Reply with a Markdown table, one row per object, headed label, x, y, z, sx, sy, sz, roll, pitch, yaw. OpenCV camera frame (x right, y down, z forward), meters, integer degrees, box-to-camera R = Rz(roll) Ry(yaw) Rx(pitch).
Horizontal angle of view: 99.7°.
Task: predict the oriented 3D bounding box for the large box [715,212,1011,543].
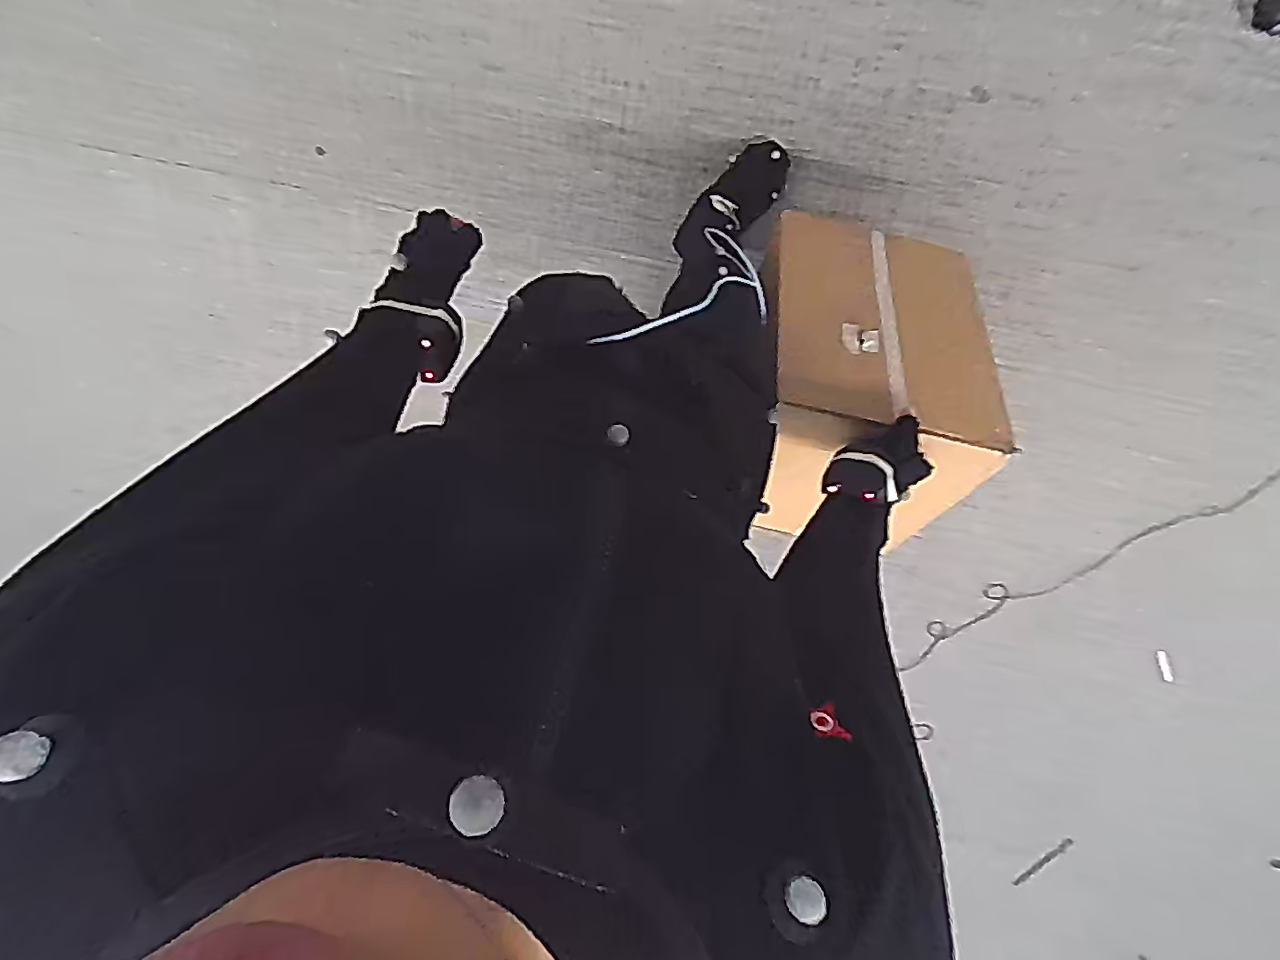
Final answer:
| label | x | y | z | sx | sy | sz | roll | pitch | yaw |
| --- | --- | --- | --- | --- | --- | --- | --- | --- | --- |
| large box | 0.324 | -0.159 | 0.900 | 0.320 | 0.408 | 0.320 | 12 | 149 | -3 |
